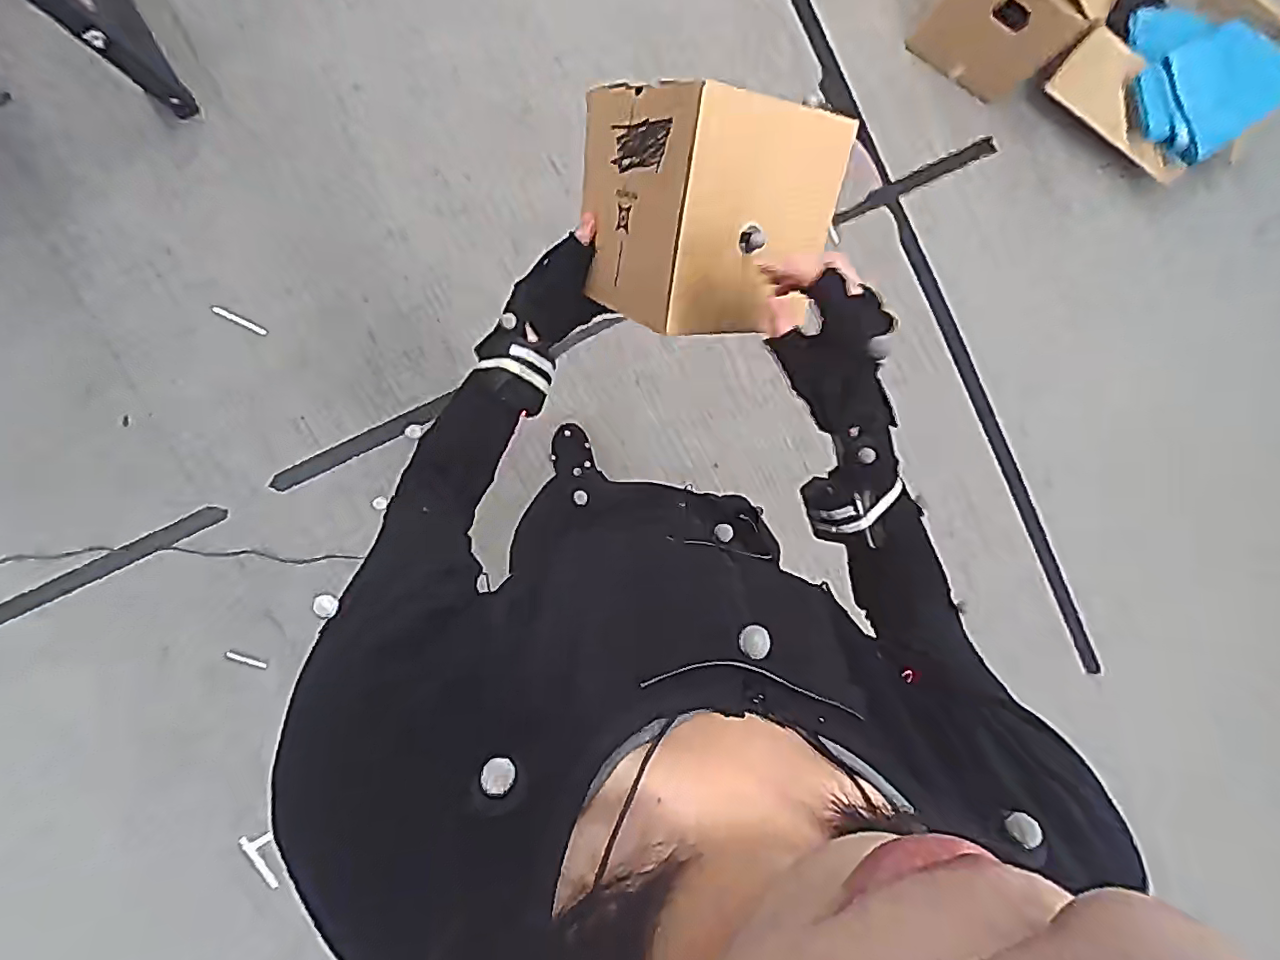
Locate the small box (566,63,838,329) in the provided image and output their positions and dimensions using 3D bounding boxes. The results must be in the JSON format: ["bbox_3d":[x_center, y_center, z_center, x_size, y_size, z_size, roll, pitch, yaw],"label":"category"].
[{"bbox_3d":[0.049,-0.247,0.489,0.176,0.168,0.179,-12,124,-31],"label":"small box"}]
